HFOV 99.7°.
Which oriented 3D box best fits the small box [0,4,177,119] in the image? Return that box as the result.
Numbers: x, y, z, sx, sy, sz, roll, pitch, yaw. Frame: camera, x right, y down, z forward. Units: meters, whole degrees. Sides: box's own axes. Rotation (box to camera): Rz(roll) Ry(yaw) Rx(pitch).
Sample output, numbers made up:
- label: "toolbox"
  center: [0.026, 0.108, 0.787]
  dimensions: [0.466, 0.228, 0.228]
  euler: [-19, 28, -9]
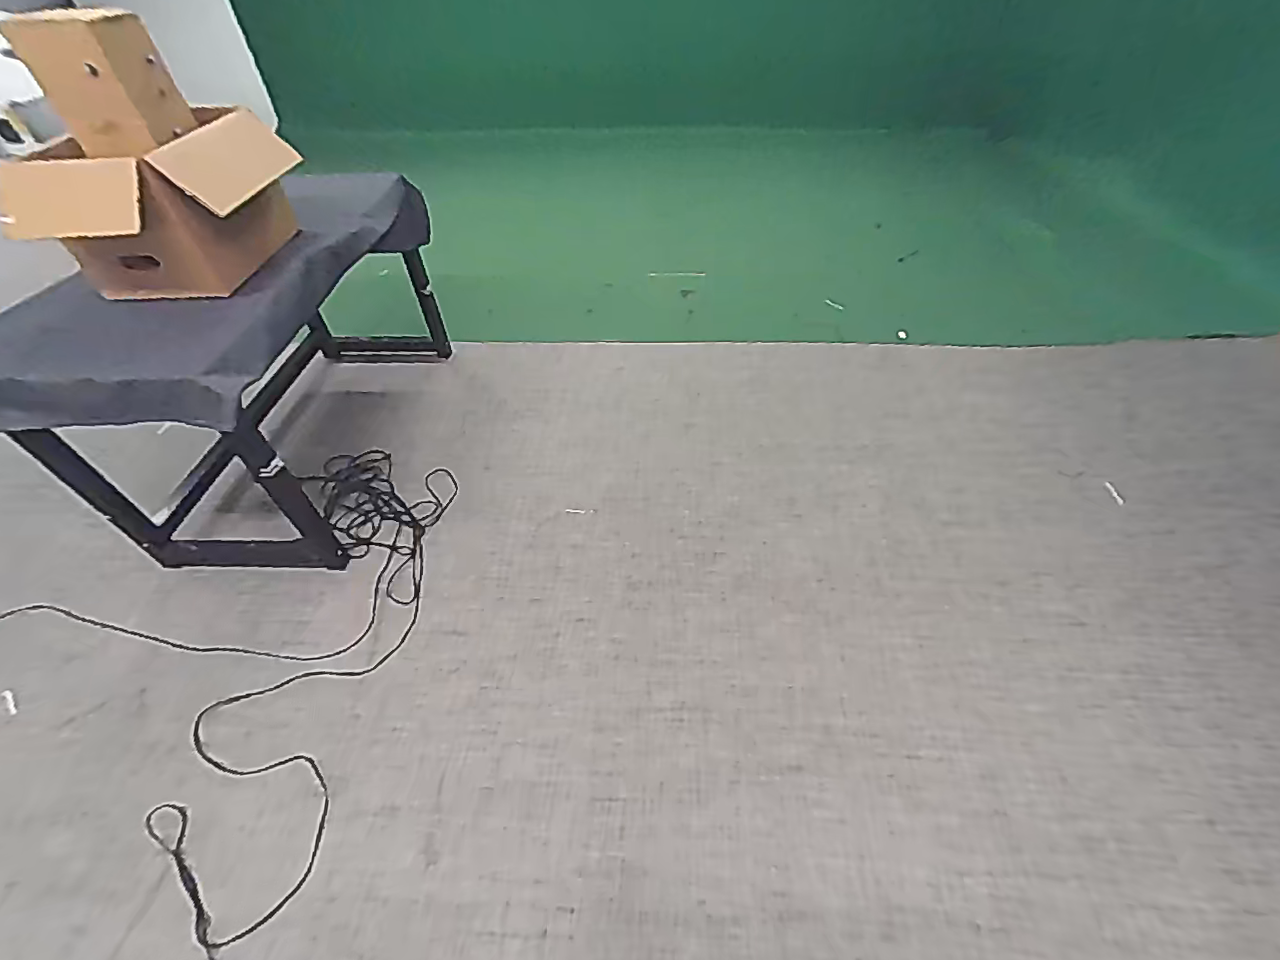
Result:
- label: "small box"
  center: [-1.149, -0.884, 1.143]
  dimensions: [0.179, 0.176, 0.168]
  euler: [-3, 46, -1]
